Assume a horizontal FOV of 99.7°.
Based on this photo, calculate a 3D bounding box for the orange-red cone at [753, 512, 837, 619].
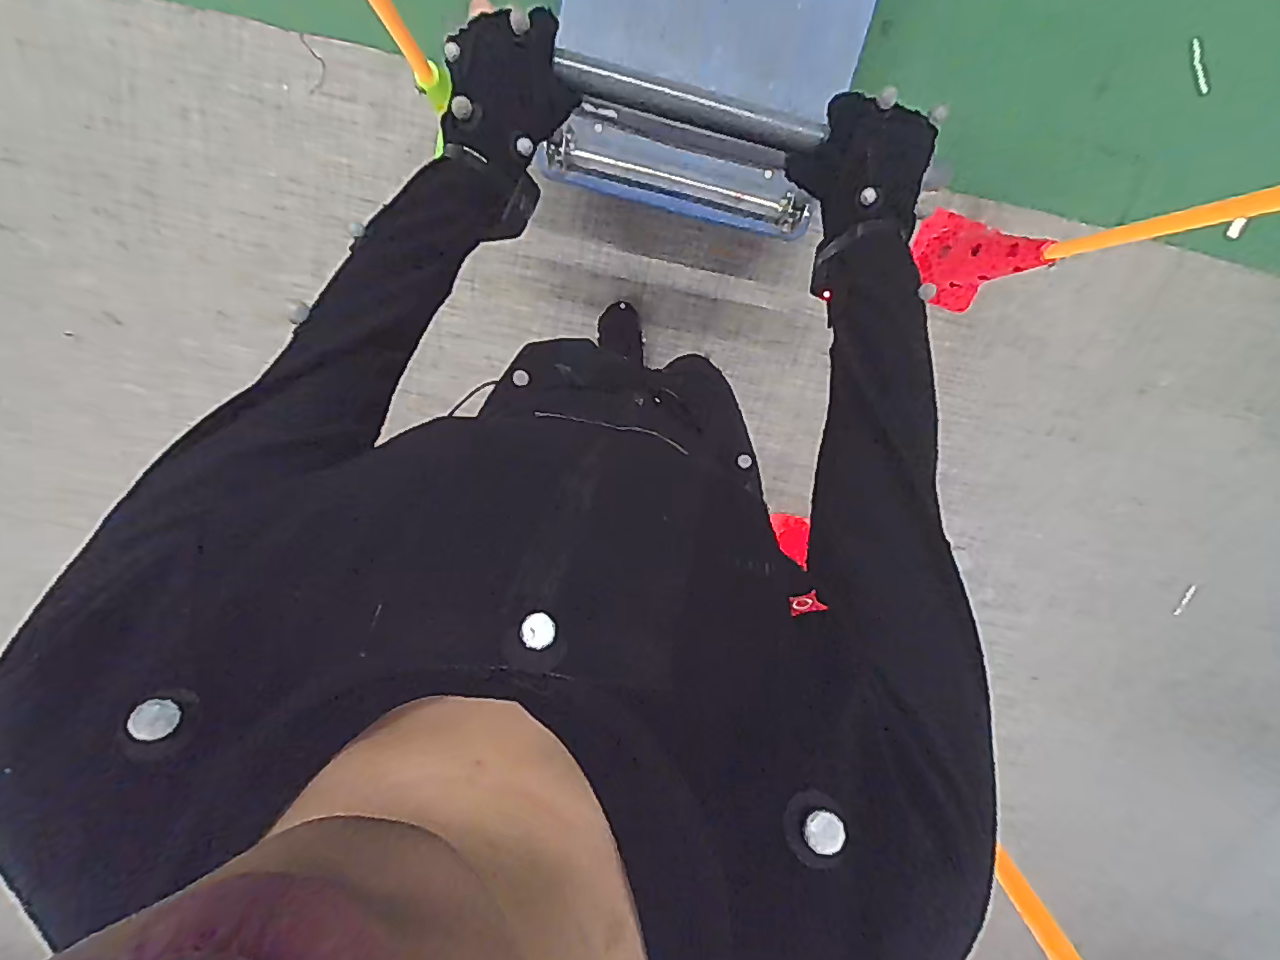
[{"bbox_3d":[0.441,0.252,1.416,0.199,0.360,0.198,12,108,-2],"label":"orange-red cone"}]

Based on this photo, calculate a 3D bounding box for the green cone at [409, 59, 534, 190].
[{"bbox_3d":[-0.358,-0.740,1.071,0.202,0.368,0.200,17,108,-4],"label":"green cone"}]
